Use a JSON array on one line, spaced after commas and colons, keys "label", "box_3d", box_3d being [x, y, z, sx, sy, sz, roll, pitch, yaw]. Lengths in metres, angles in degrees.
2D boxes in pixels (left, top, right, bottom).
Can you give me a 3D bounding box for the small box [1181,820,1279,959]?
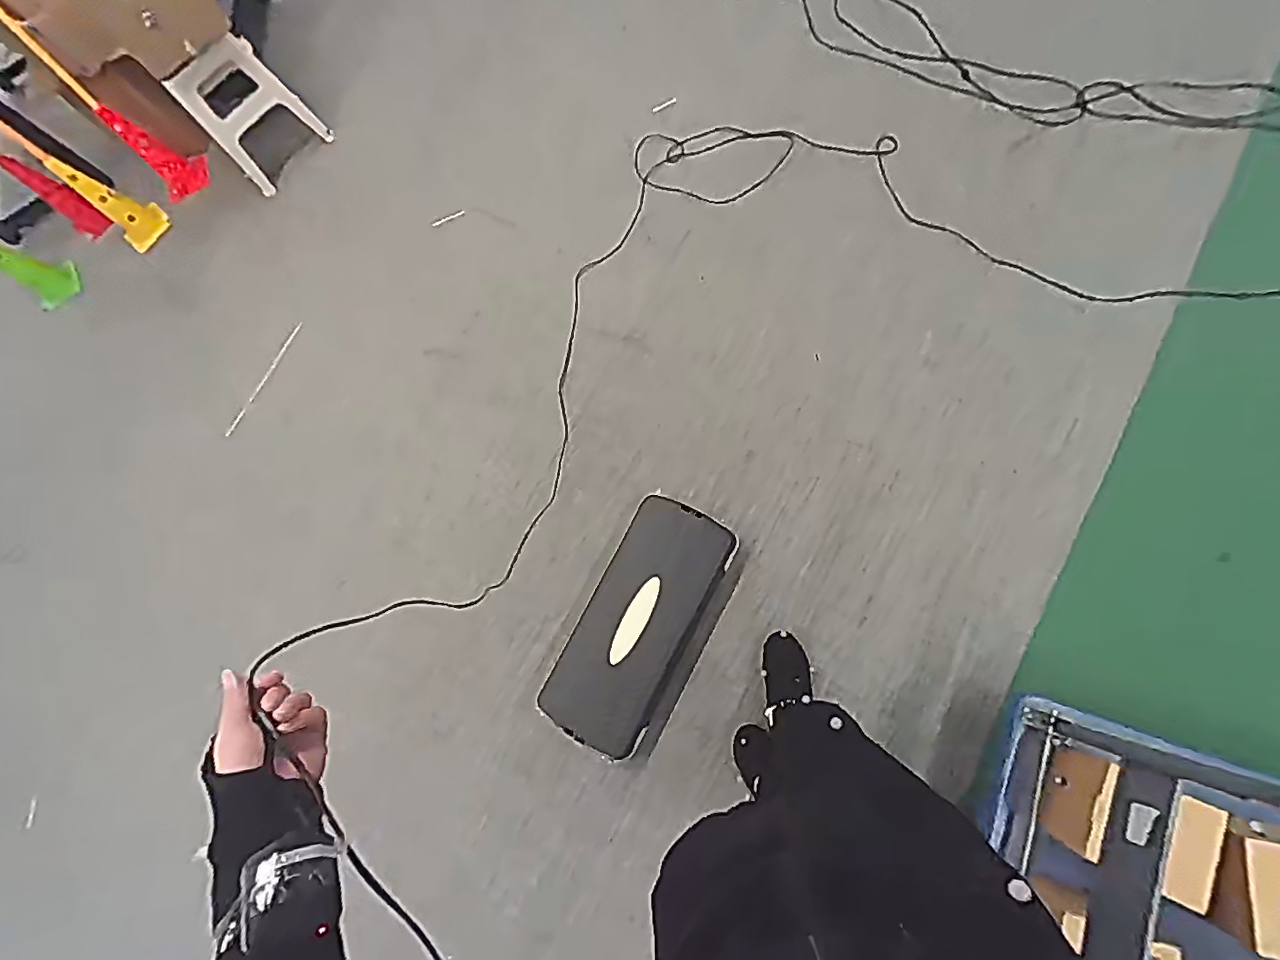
[{"label": "small box", "box_3d": [1.052, 0.691, 0.894, 0.179, 0.176, 0.168, 5, 76, 13]}]
